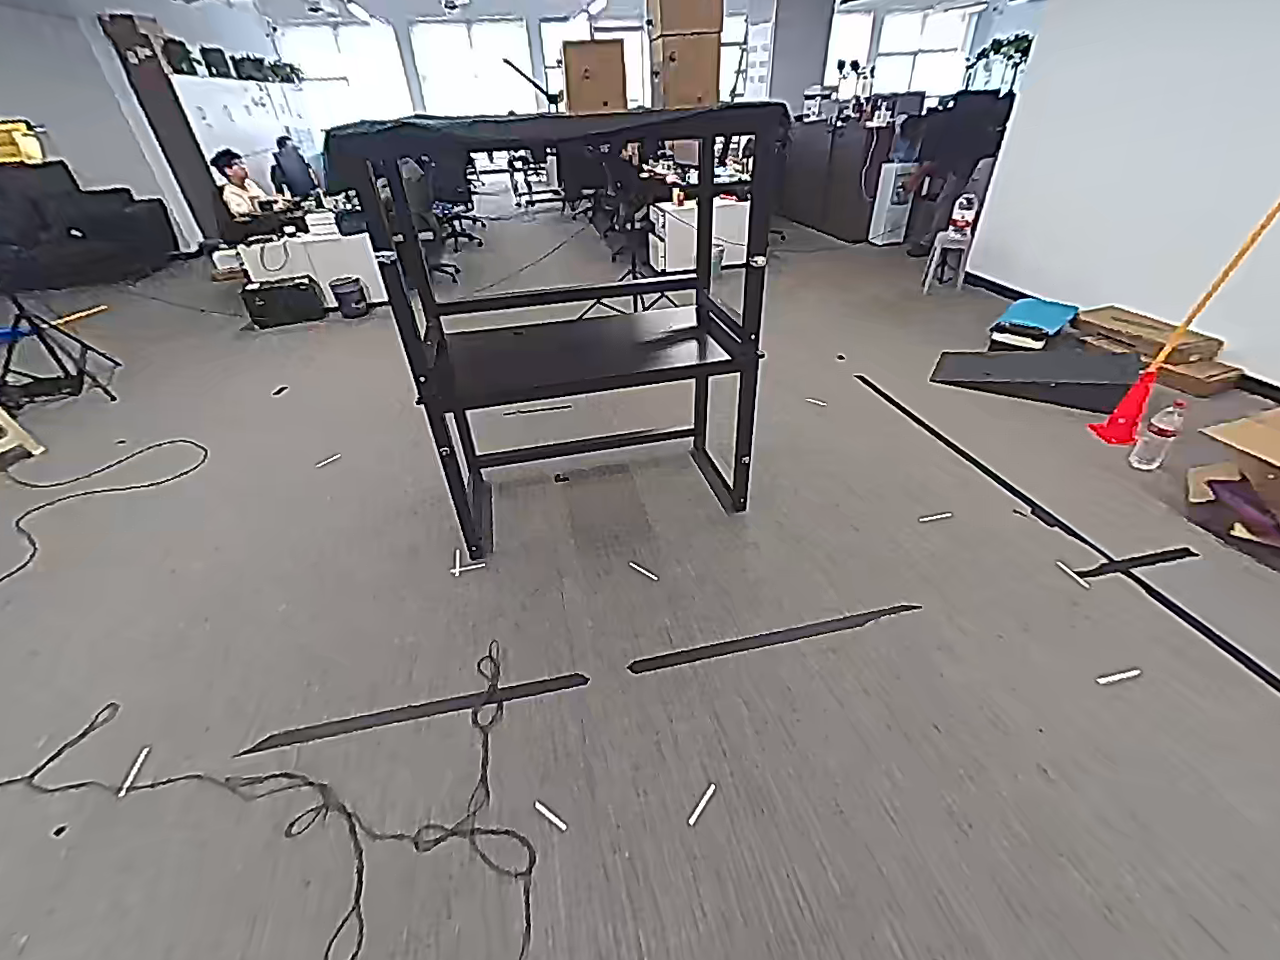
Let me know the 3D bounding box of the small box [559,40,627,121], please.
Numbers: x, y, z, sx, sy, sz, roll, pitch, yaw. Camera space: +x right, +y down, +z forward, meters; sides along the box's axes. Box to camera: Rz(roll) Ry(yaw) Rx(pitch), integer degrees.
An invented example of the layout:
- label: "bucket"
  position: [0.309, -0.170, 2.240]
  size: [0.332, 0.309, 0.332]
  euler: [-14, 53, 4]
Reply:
- label: "small box"
  position: [-0.132, -1.121, 1.524]
  size: [0.168, 0.176, 0.179]
  euler: [-8, 34, -7]

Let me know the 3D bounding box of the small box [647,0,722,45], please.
- label: "small box"
  position: [0.117, -1.286, 1.451]
  size: [0.179, 0.176, 0.168]
  euler: [-10, 33, -7]
